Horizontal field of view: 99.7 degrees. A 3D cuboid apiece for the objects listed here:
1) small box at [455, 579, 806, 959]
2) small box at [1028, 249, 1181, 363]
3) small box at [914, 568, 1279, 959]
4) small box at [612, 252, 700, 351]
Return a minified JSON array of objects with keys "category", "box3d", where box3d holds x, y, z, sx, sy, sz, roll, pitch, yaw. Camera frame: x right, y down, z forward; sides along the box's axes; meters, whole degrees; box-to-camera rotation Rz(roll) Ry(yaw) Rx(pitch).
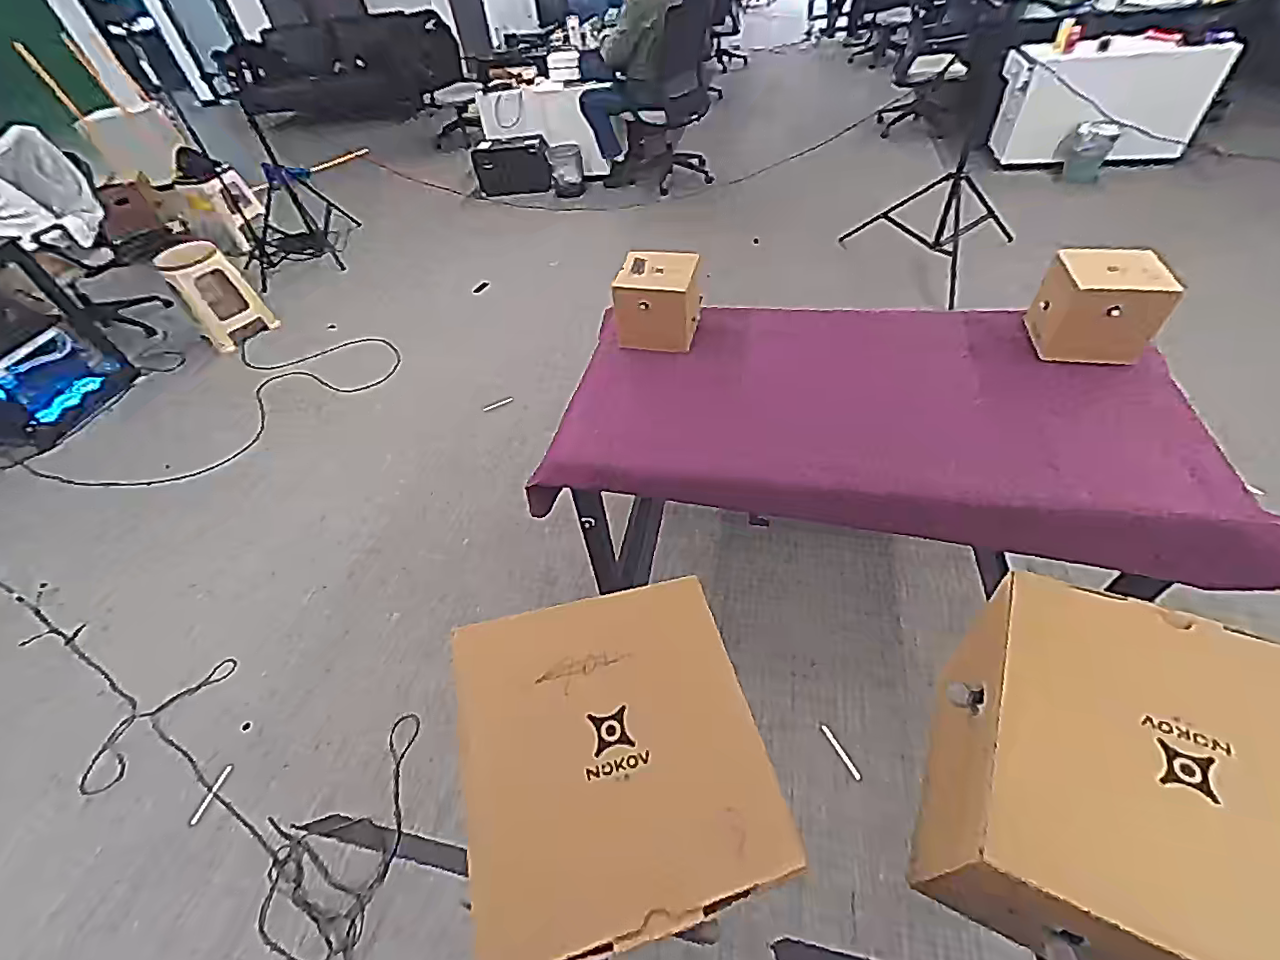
[{"category":"small box","box3d":[-0.021,0.197,0.366,0.168,0.176,0.179,-10,51,-15]},{"category":"small box","box3d":[0.948,-0.362,1.131,0.179,0.176,0.168,7,50,12]},{"category":"small box","box3d":[0.283,0.190,0.332,0.168,0.176,0.179,16,54,23]},{"category":"small box","box3d":[0.046,-0.432,1.310,0.179,0.176,0.168,8,51,13]}]
